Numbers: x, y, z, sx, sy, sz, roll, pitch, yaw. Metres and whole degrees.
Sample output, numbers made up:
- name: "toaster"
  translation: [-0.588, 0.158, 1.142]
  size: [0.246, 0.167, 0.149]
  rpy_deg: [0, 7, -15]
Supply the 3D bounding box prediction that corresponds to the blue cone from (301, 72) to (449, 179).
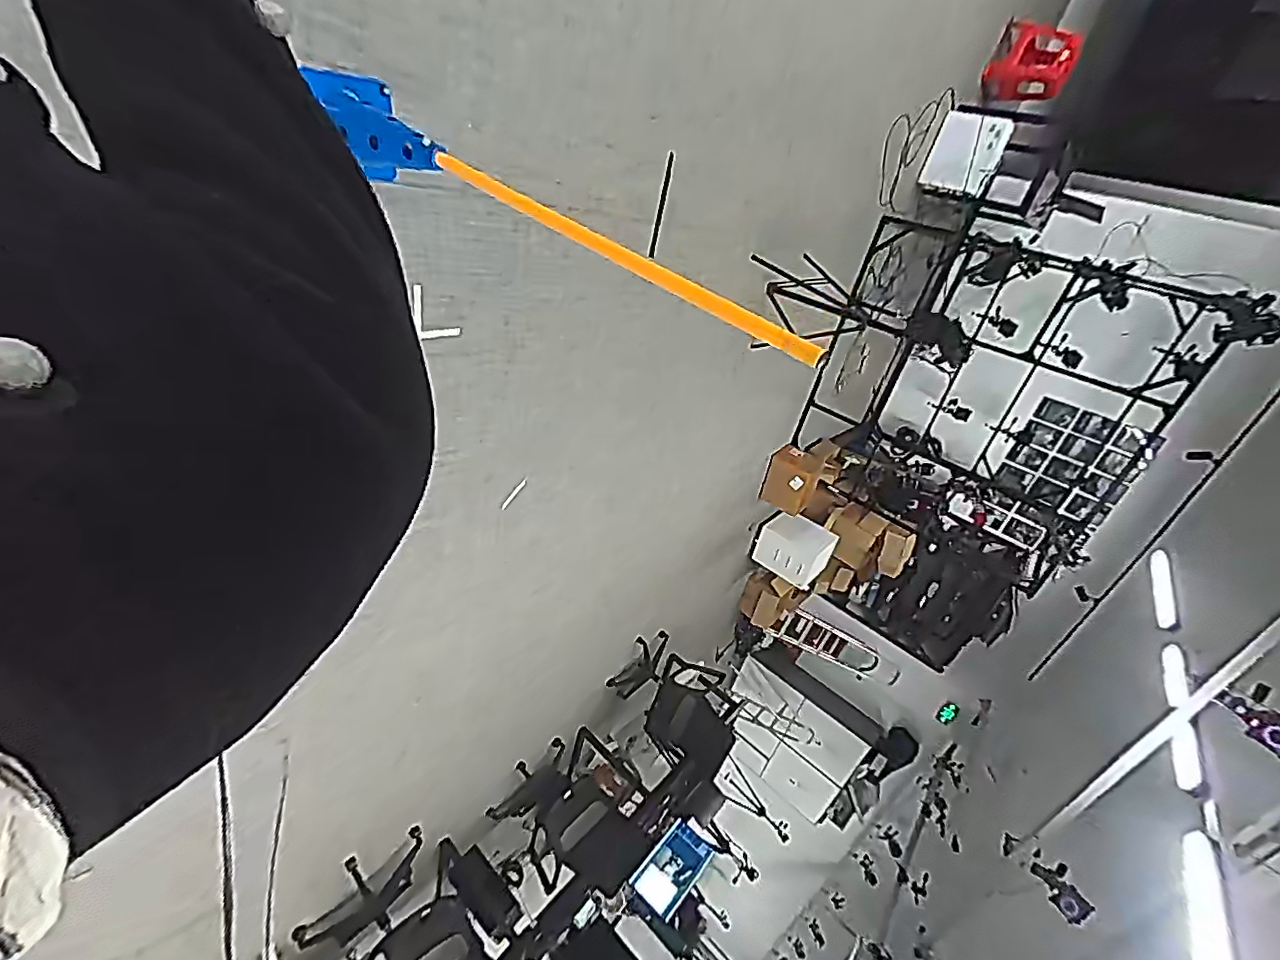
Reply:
- name: "blue cone"
  translation: [-0.515, -0.702, 1.118]
  size: [0.193, 0.380, 0.192]
  rpy_deg: [-26, 137, -44]
